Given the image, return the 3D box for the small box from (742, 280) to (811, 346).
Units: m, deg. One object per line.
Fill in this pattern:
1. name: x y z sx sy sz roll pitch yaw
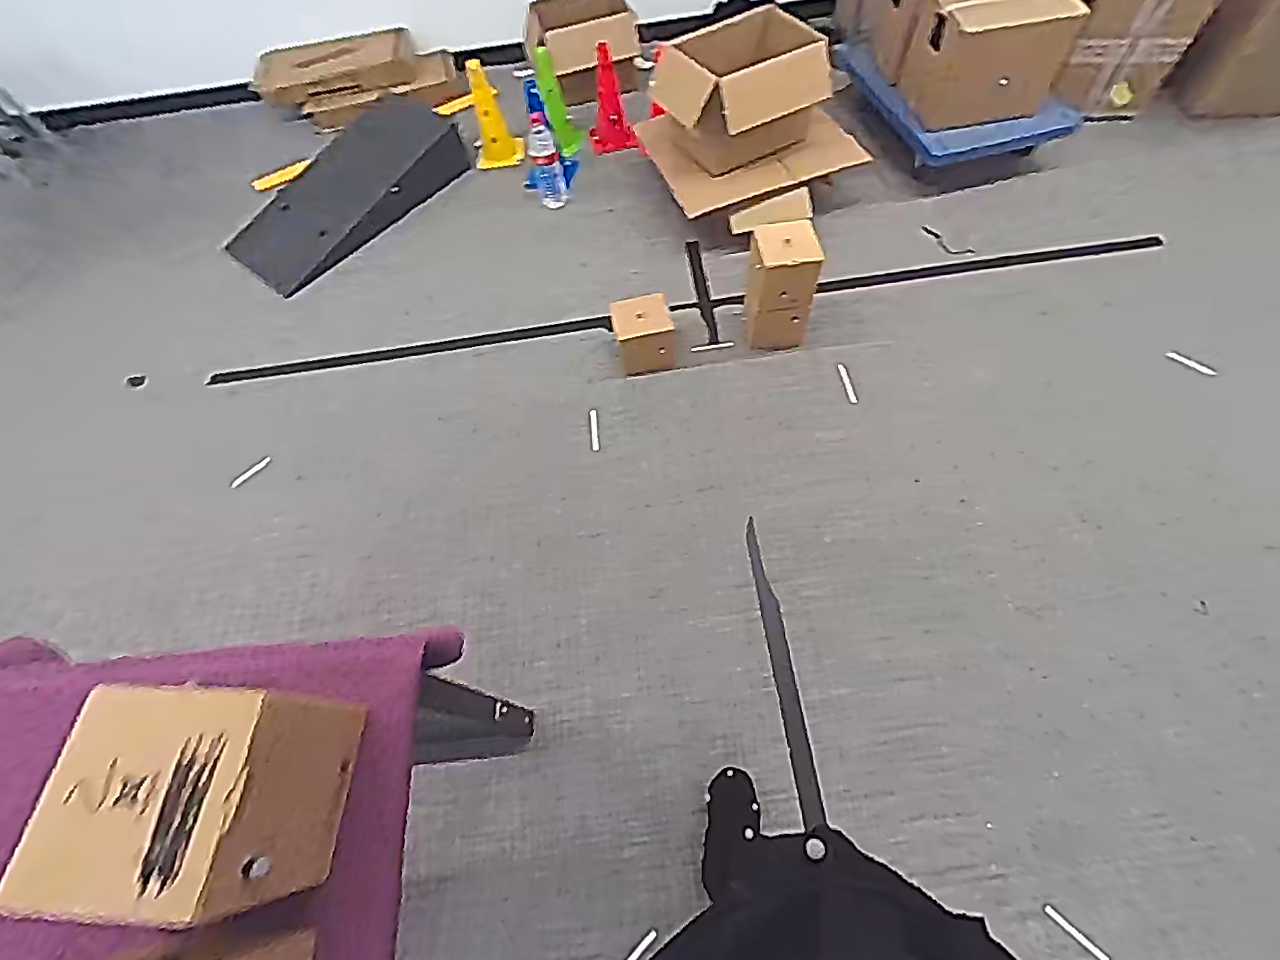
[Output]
1. small box: 0.430 -0.548 1.734 0.179 0.176 0.168 -4 61 2

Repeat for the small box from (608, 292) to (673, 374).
1. small box: 0.006 -0.466 1.725 0.179 0.176 0.168 -13 61 -1

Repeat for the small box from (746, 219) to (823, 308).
1. small box: 0.418 -0.637 1.597 0.168 0.176 0.179 -7 62 0
